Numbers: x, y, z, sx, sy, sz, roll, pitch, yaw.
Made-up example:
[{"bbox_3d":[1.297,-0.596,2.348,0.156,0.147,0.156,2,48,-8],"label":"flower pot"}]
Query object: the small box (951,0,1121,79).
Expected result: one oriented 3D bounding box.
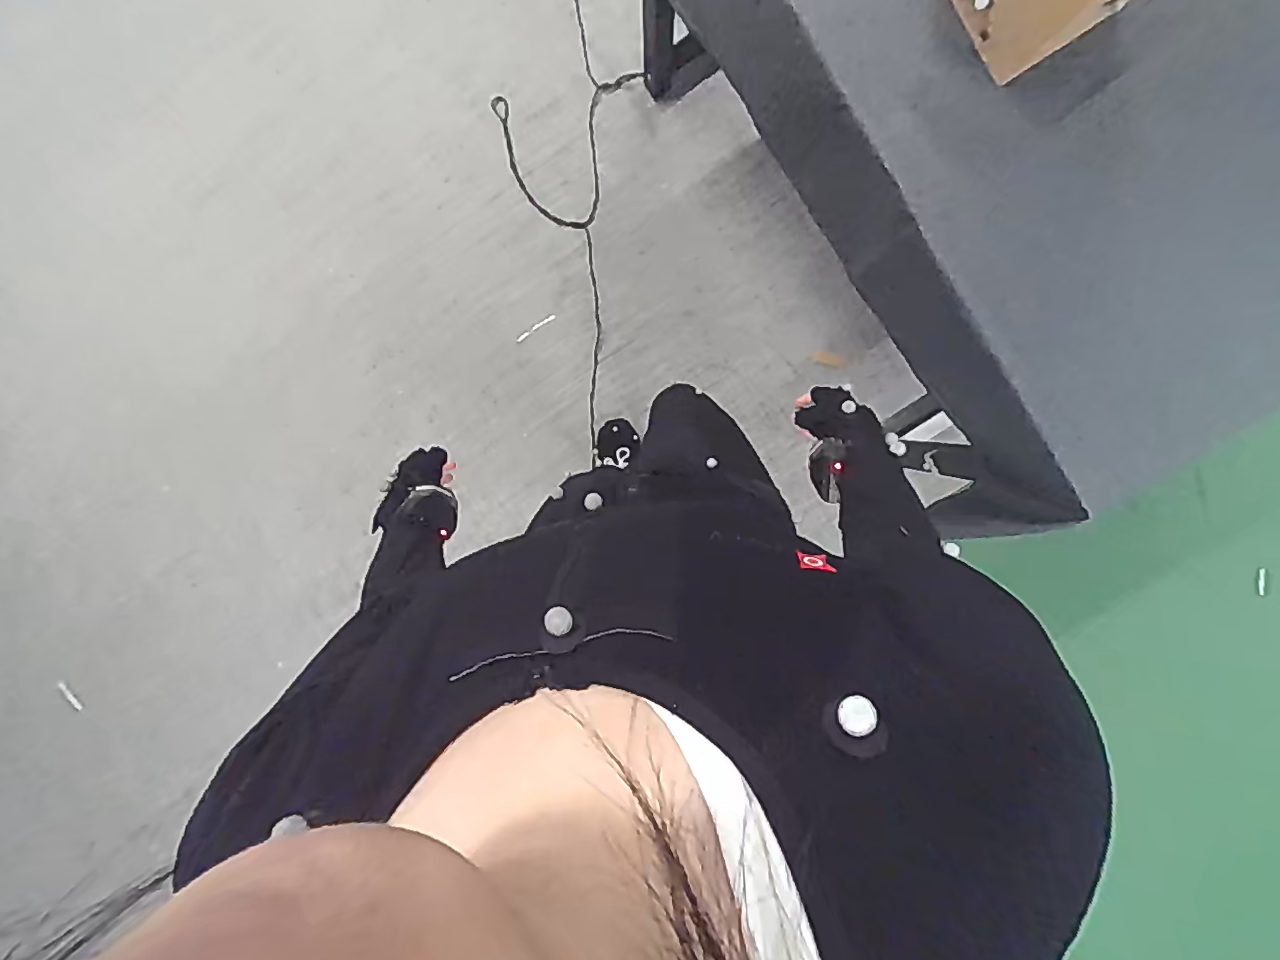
[{"bbox_3d":[0.488,-0.615,0.607,0.179,0.176,0.168,-32,94,4],"label":"small box"}]
